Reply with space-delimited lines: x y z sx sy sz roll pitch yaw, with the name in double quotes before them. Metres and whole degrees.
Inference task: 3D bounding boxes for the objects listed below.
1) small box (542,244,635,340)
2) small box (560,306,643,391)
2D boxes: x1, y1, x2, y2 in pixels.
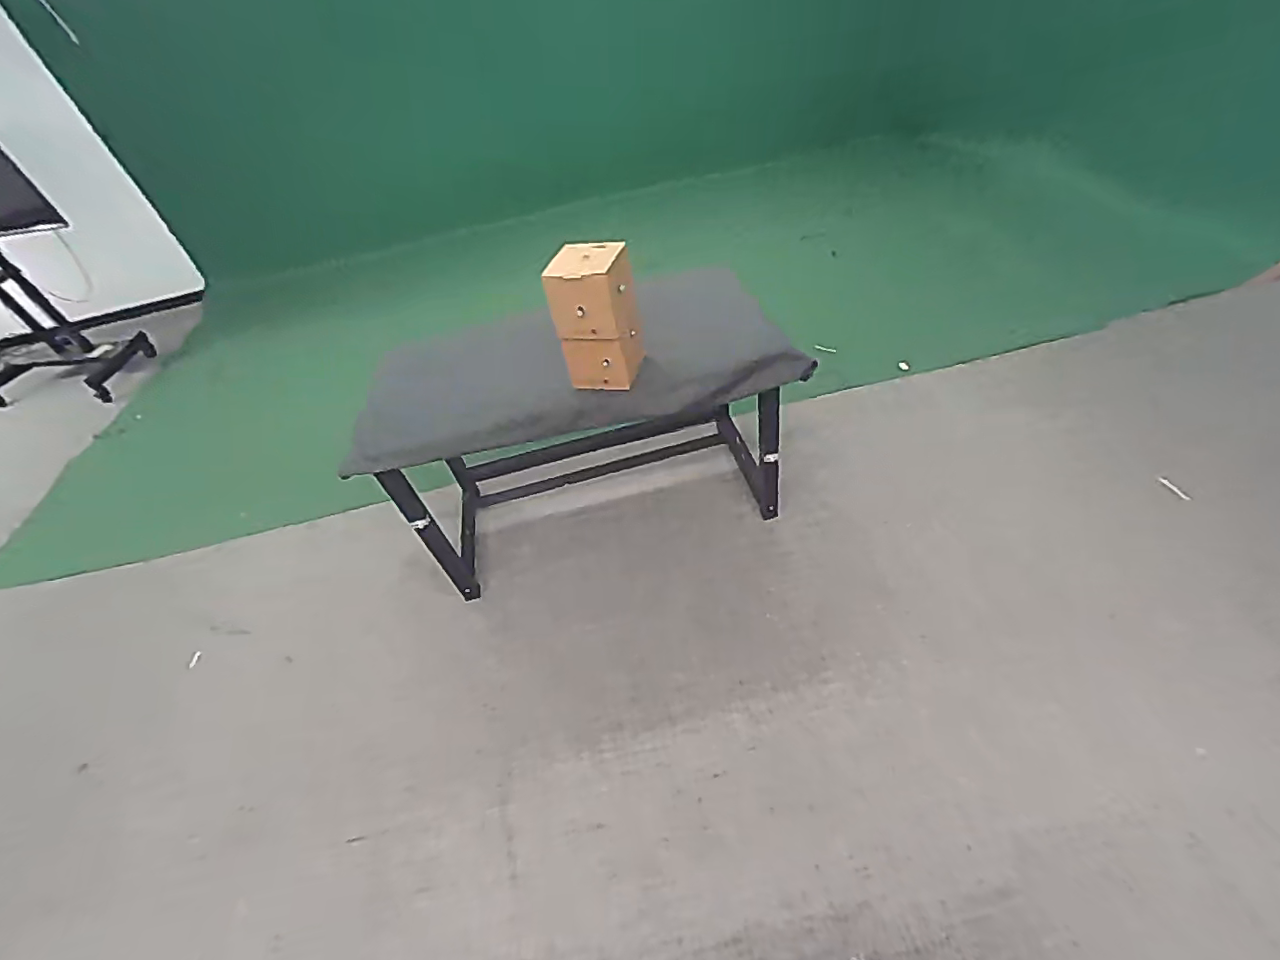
"small box" -0.119 -0.465 1.350 0.168 0.176 0.179 5 48 16
"small box" -0.097 -0.359 1.473 0.168 0.176 0.179 5 46 16
